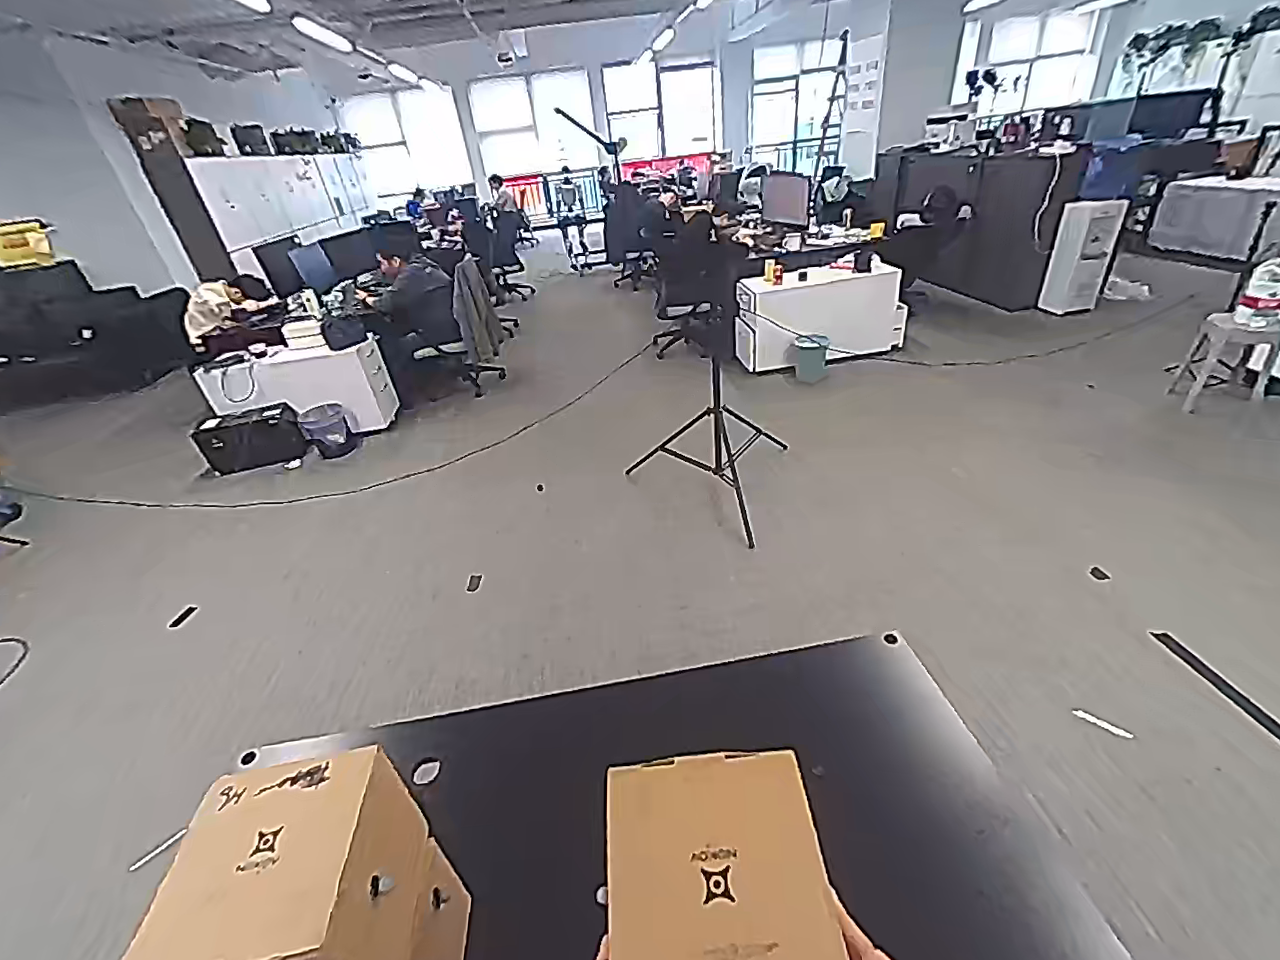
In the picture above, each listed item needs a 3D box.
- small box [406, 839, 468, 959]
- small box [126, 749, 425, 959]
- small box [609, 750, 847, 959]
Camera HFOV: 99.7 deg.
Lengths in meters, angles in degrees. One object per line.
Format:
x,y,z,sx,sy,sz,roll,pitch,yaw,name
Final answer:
-0.304,0.546,0.604,0.168,0.176,0.179,-9,32,-2,small box
-0.326,0.403,0.525,0.168,0.176,0.179,-10,32,-4,small box
0.065,0.360,0.460,0.168,0.176,0.179,-7,41,2,small box
